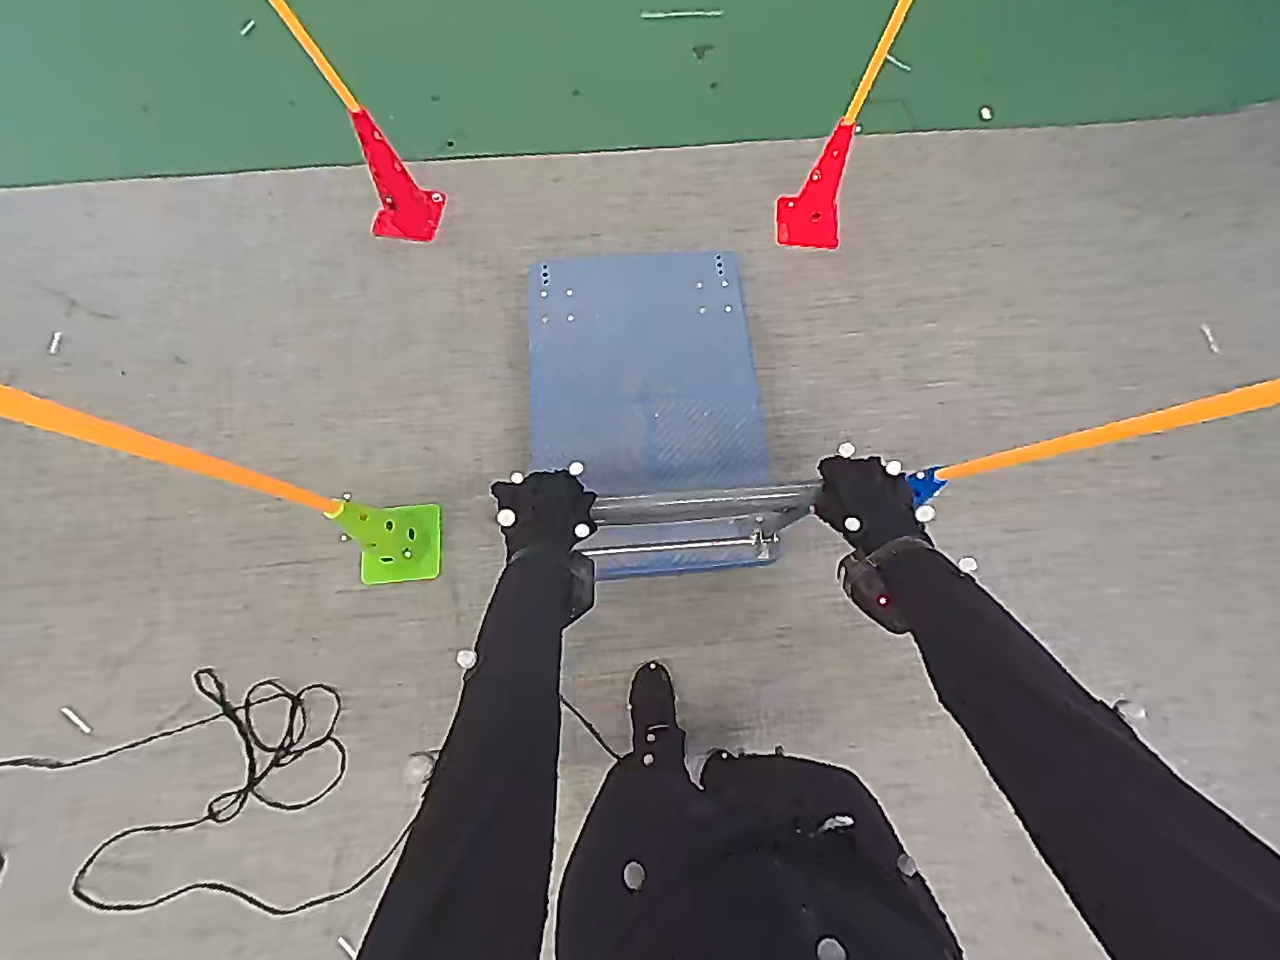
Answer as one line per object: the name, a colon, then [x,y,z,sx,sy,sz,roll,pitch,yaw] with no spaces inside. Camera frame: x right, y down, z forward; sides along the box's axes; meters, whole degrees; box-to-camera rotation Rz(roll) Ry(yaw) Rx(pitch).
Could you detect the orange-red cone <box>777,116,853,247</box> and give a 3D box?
orange-red cone: [0.549,-0.894,1.598,0.198,0.360,0.199,6,73,2]
